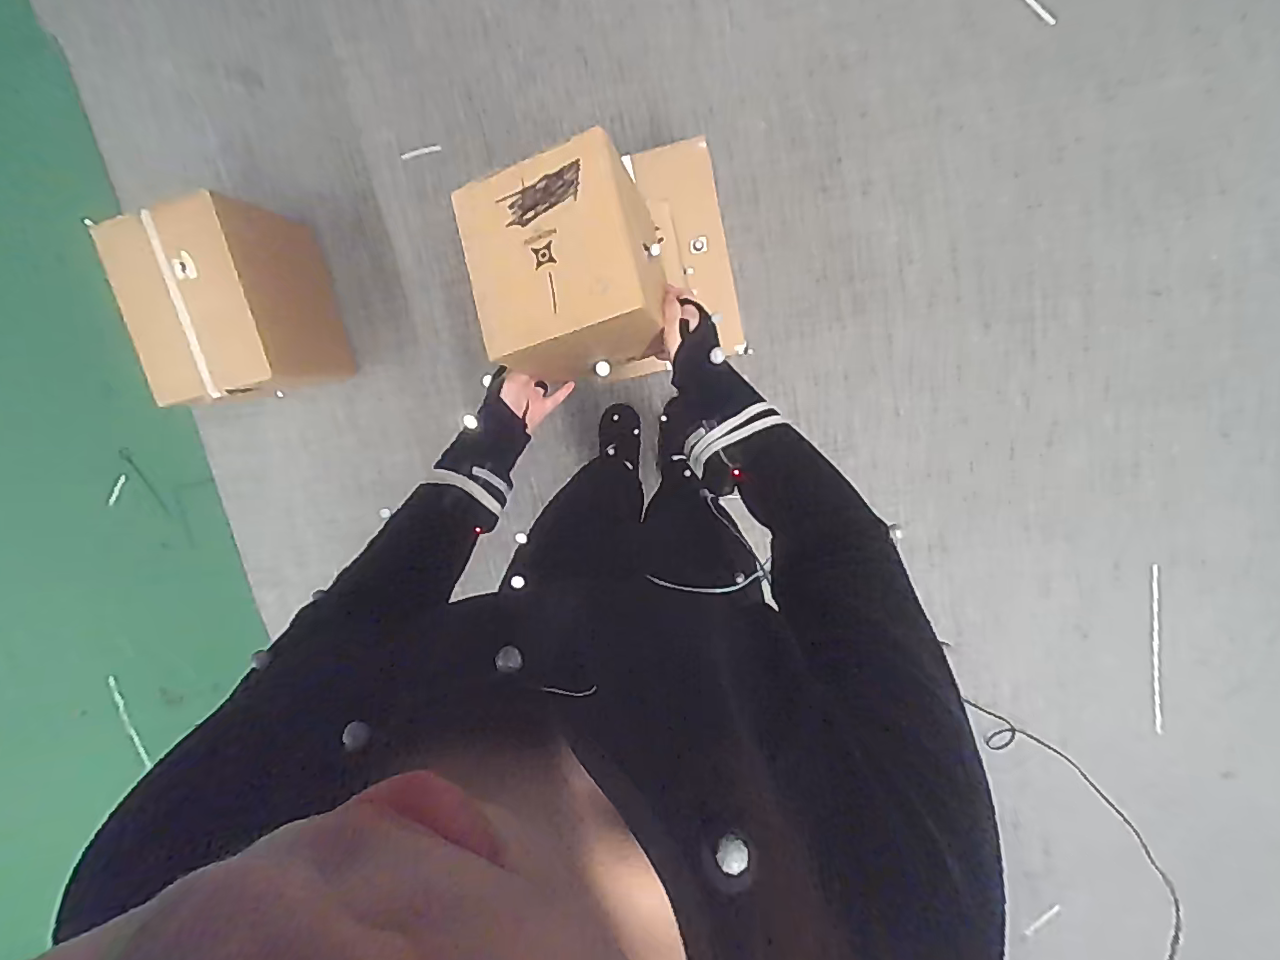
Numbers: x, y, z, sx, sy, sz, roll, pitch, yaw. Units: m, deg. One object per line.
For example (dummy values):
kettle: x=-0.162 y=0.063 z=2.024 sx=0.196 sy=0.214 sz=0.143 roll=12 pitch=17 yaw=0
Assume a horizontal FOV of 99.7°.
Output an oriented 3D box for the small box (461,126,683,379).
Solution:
small box: x=-0.062 y=-0.225 z=0.587 sx=0.168 sy=0.176 sz=0.179 roll=-14 pitch=88 yaw=17

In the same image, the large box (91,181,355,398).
large box: x=-0.983 y=-0.436 z=1.326 sx=0.320 sy=0.320 sz=0.408 roll=-10 pitch=101 yaw=9

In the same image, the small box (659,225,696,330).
small box: x=0.002 y=-0.344 z=0.985 sx=0.179 sy=0.176 sz=0.168 roll=-12 pitch=102 yaw=11
